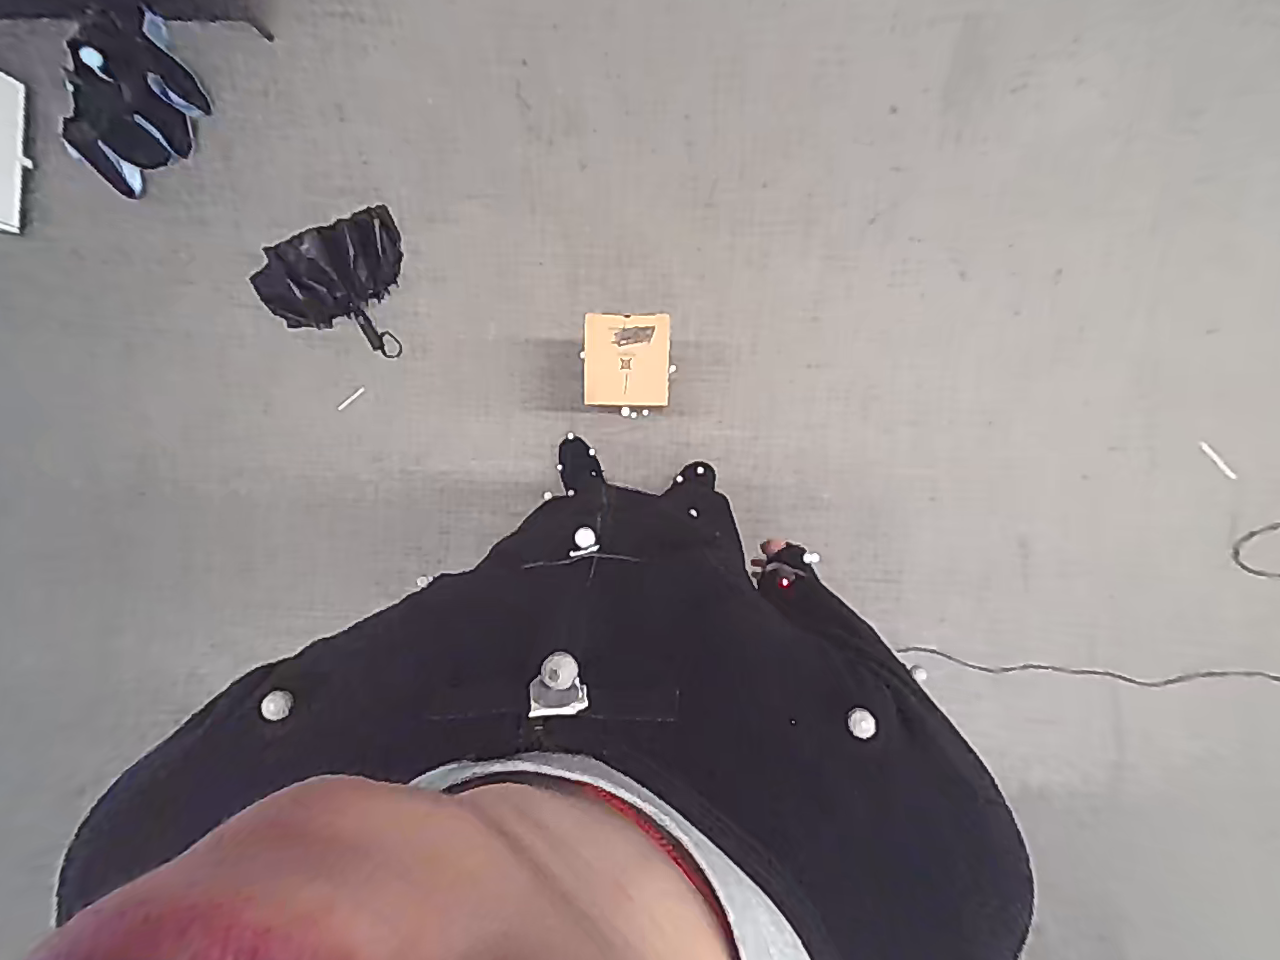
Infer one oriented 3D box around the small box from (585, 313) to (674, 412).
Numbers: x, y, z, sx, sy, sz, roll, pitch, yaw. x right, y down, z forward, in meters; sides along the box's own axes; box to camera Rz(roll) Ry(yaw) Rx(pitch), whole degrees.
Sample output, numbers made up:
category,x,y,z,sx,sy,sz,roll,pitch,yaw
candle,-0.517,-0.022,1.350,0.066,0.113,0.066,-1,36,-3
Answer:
category,x,y,z,sx,sy,sz,roll,pitch,yaw
small box,-0.020,-0.233,1.106,0.168,0.176,0.179,1,96,2
